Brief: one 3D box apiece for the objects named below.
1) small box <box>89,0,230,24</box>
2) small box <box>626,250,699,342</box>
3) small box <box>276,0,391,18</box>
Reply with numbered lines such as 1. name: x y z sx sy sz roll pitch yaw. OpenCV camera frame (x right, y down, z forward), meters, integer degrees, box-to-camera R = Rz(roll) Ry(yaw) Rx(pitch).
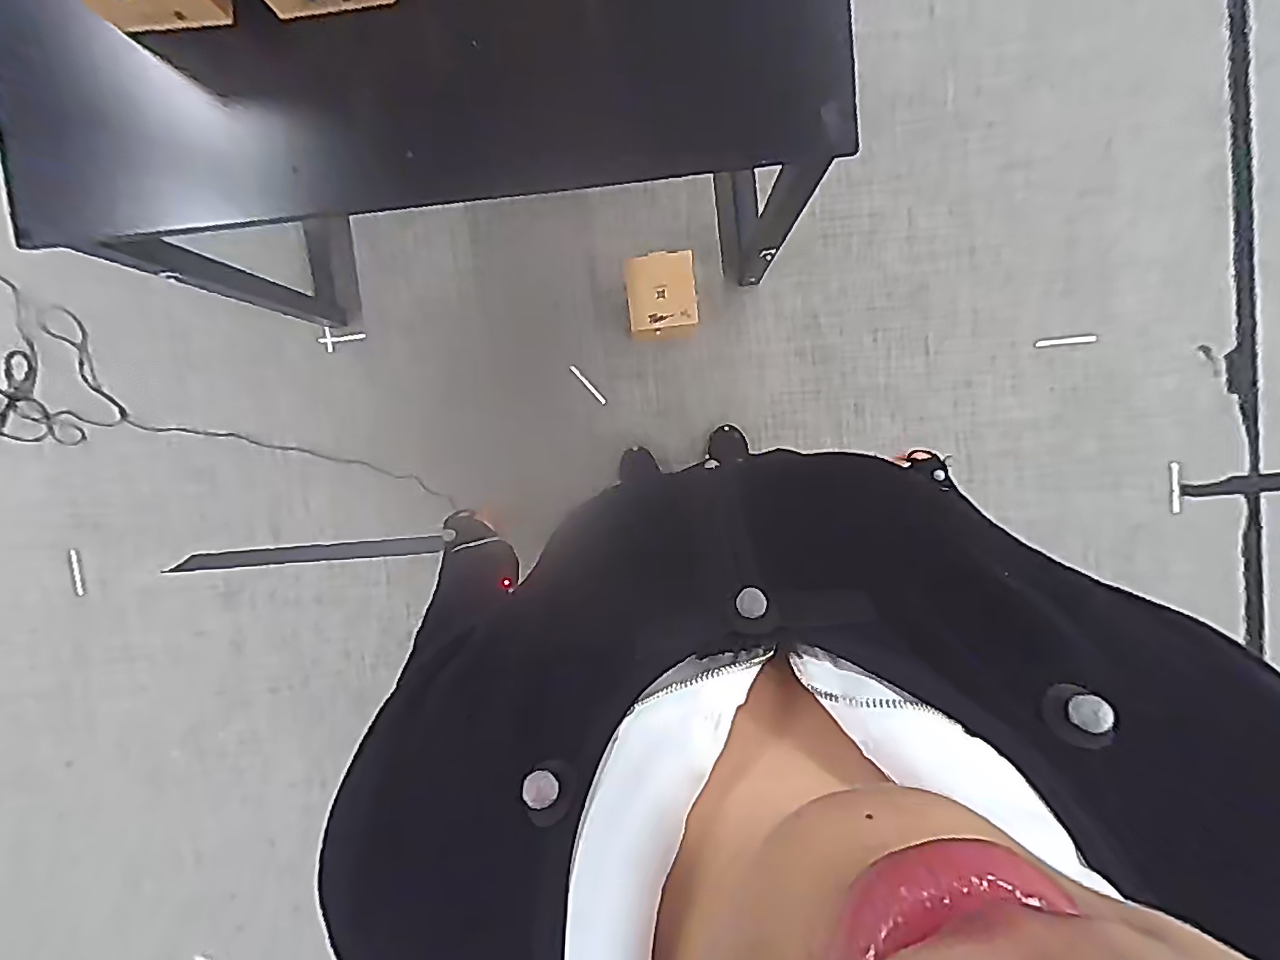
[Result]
1. small box: -0.646 -0.705 0.664 0.168 0.176 0.179 -2 95 2
2. small box: 0.057 -0.464 1.382 0.168 0.176 0.179 -6 94 4
3. small box: -0.423 -0.718 0.651 0.168 0.176 0.179 -6 96 3
